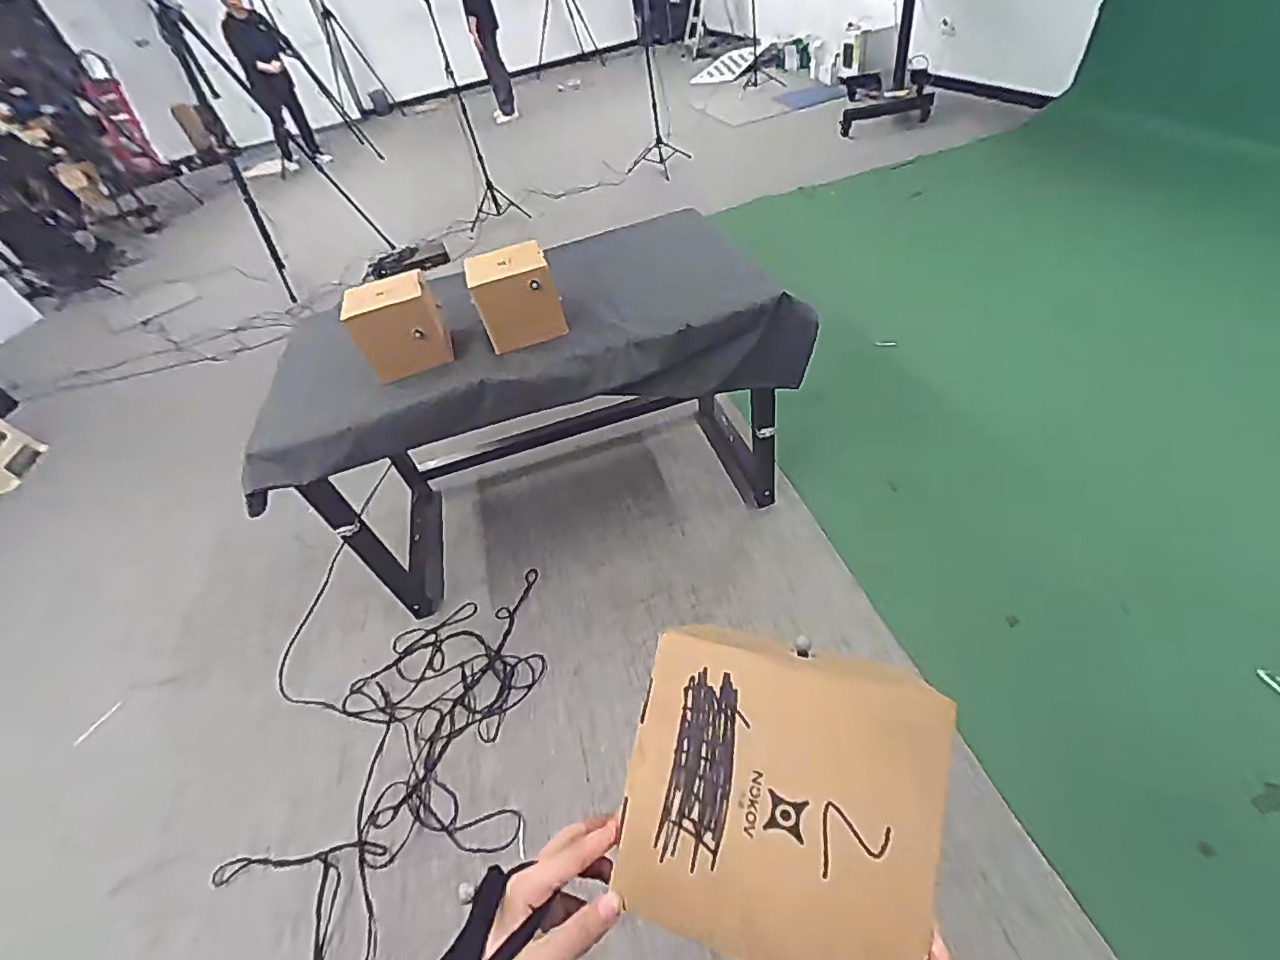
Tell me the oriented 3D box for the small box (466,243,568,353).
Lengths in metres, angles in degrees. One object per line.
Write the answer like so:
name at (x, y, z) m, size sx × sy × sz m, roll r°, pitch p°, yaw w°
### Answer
small box at (-0.281, -0.415, 1.242) m, size 0.179 × 0.176 × 0.168 m, roll -18°, pitch 45°, yaw -5°

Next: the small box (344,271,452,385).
small box at (-0.543, -0.346, 1.238) m, size 0.179 × 0.176 × 0.168 m, roll -21°, pitch 44°, yaw -6°
